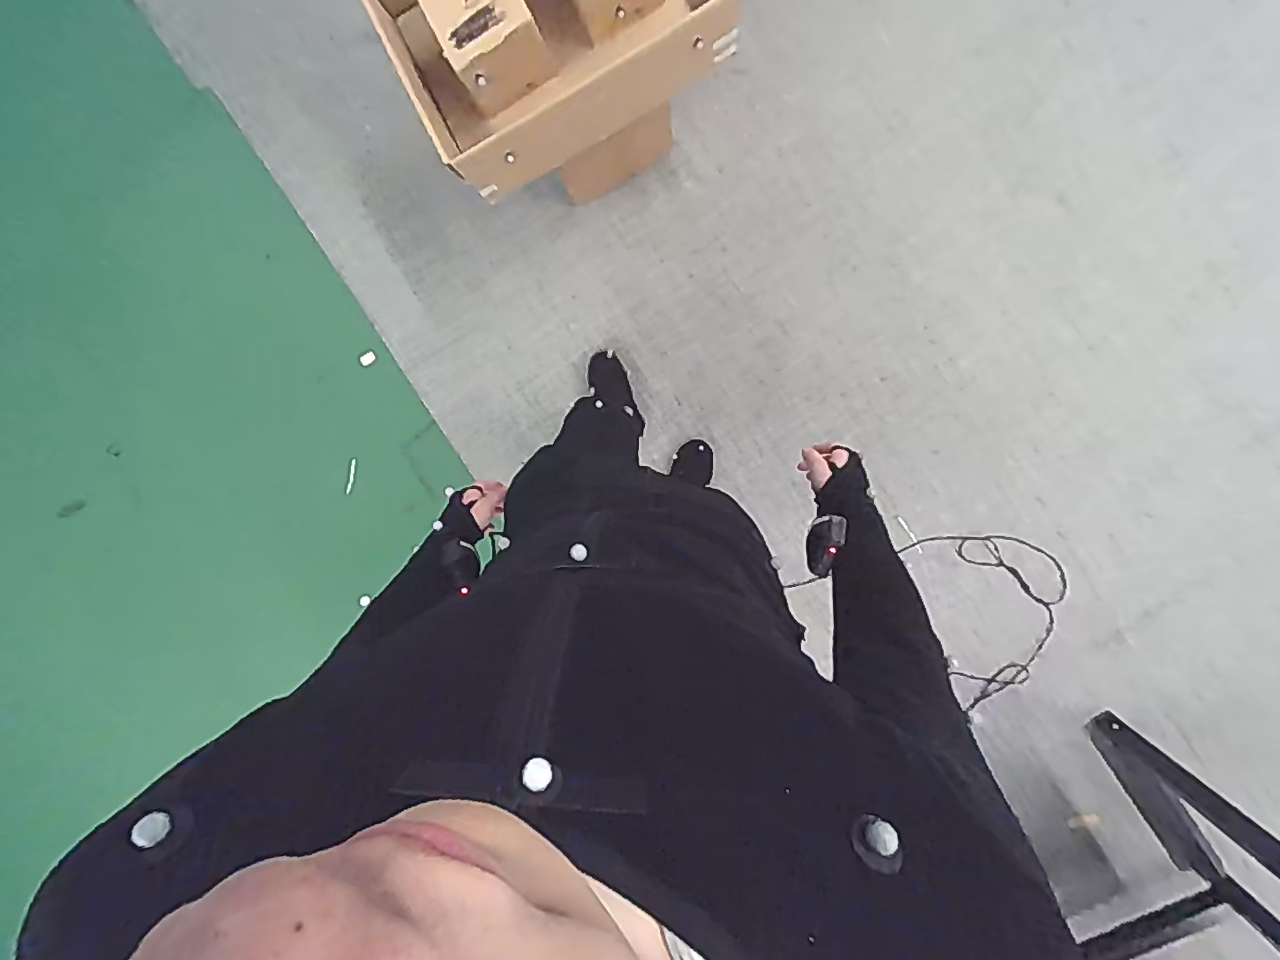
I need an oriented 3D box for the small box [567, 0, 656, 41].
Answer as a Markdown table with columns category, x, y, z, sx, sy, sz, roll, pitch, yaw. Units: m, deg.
| category | x | y | z | sx | sy | sz | roll | pitch | yaw |
| --- | --- | --- | --- | --- | --- | --- | --- | --- | --- |
| small box | -0.077 | -0.960 | 0.972 | 0.168 | 0.176 | 0.179 | -26 | 97 | 9 |
